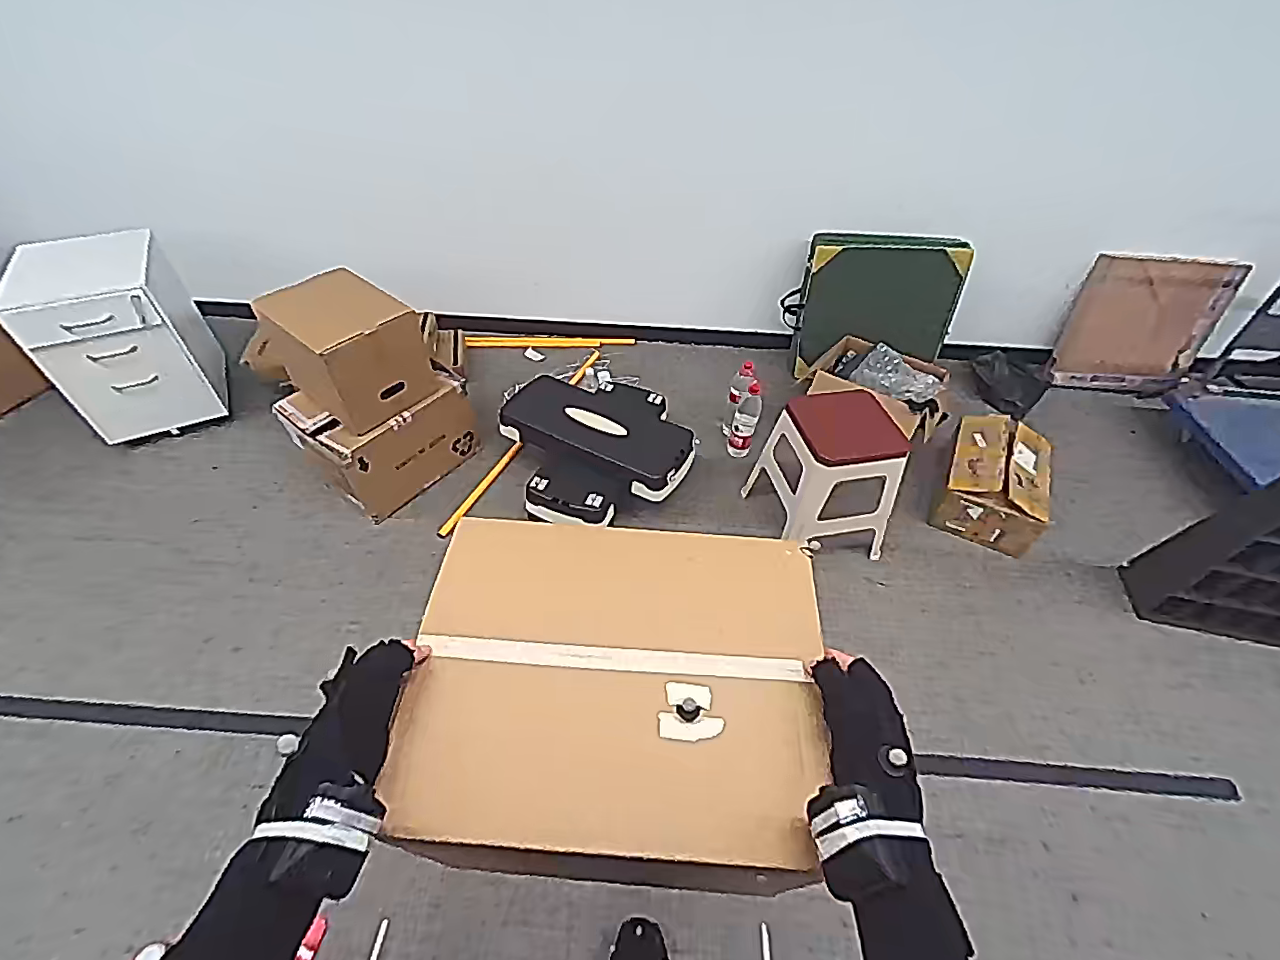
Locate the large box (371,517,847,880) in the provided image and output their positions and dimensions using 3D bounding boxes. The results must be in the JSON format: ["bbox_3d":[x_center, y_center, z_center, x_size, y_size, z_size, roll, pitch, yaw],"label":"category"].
[{"bbox_3d":[-0.025,0.268,0.652,0.408,0.320,0.320,5,50,1],"label":"large box"}]

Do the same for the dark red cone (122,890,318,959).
[{"bbox_3d":[-0.759,0.827,0.941,0.201,0.394,0.202,9,47,5],"label":"dark red cone"}]
